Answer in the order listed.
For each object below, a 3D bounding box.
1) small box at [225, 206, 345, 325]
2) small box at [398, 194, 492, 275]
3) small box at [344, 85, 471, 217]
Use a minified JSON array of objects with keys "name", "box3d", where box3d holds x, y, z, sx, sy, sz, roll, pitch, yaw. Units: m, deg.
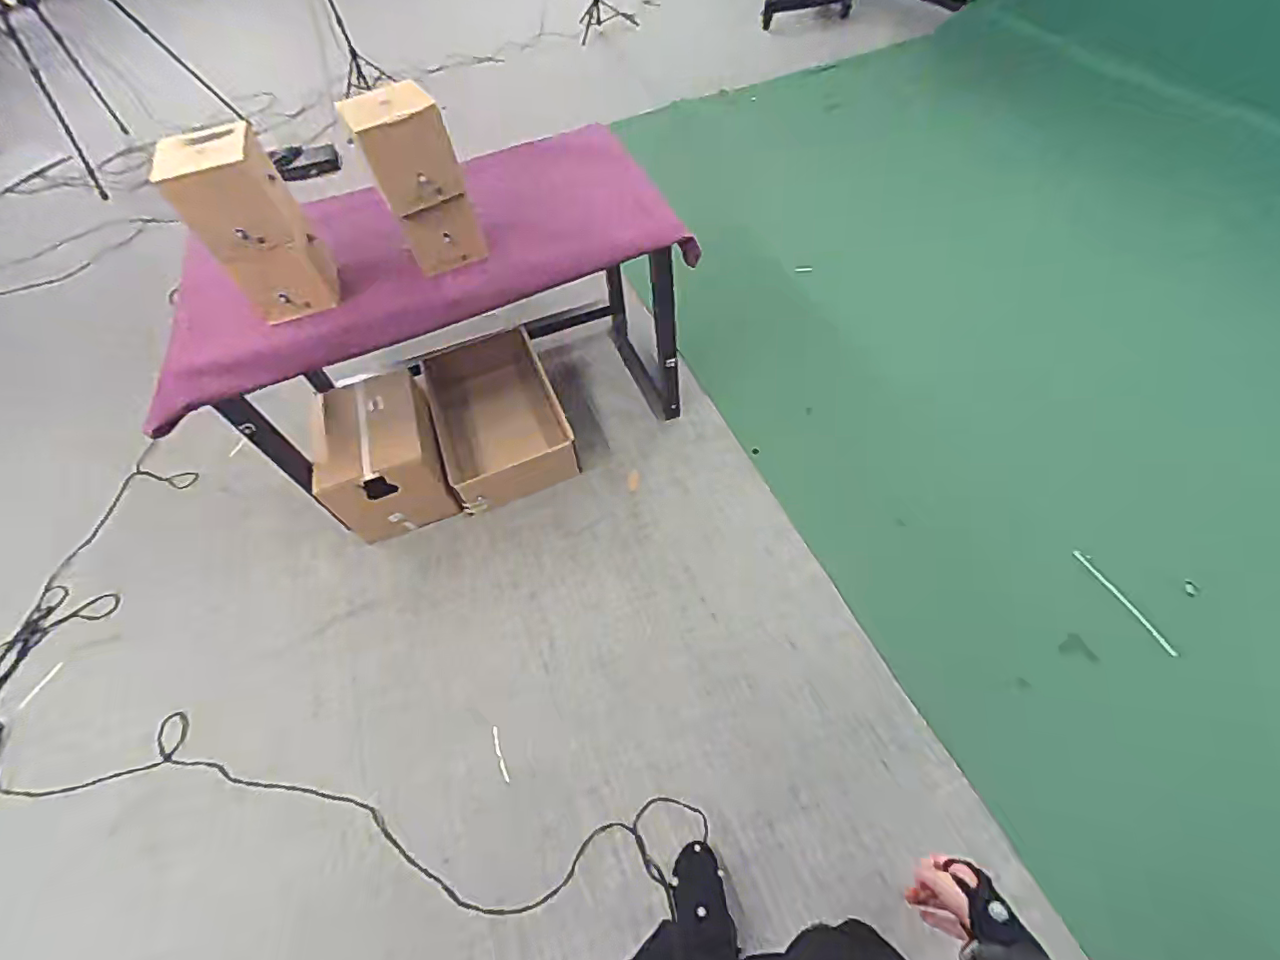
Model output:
[{"name":"small box","box3d":[-0.799,-0.487,1.235,0.168,0.176,0.179,-19,56,-7]},{"name":"small box","box3d":[-0.468,-0.610,1.281,0.168,0.176,0.179,-24,56,-10]},{"name":"small box","box3d":[-0.481,-0.684,1.132,0.168,0.176,0.179,-29,57,-12]}]
